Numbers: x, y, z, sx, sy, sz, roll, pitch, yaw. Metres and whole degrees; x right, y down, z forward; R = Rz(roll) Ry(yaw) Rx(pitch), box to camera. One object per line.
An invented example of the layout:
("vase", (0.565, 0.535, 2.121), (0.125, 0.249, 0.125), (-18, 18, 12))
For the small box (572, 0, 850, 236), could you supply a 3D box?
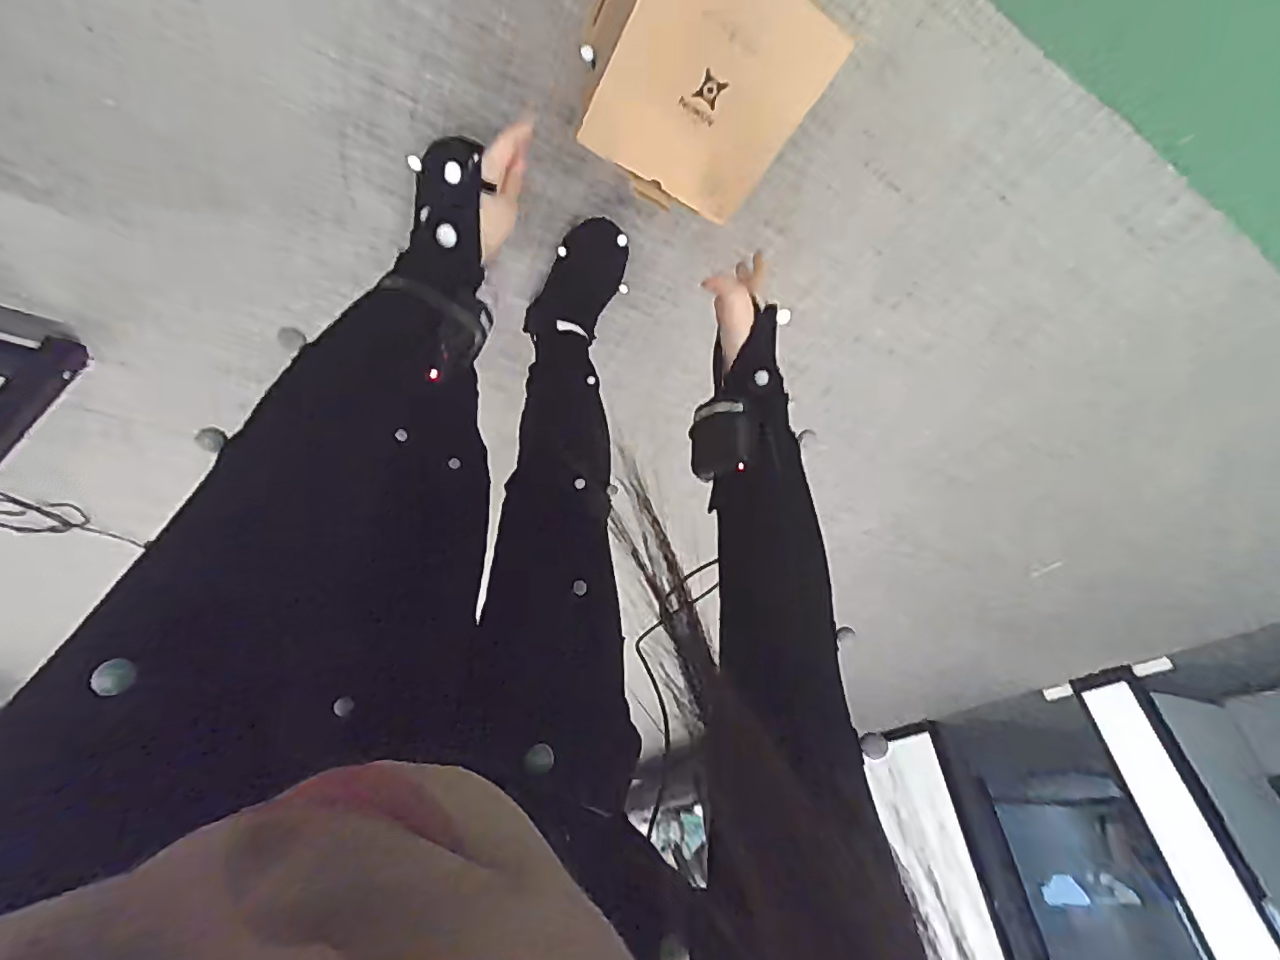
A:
("small box", (0.051, -0.372, 0.491), (0.168, 0.176, 0.179), (17, 138, -25))
